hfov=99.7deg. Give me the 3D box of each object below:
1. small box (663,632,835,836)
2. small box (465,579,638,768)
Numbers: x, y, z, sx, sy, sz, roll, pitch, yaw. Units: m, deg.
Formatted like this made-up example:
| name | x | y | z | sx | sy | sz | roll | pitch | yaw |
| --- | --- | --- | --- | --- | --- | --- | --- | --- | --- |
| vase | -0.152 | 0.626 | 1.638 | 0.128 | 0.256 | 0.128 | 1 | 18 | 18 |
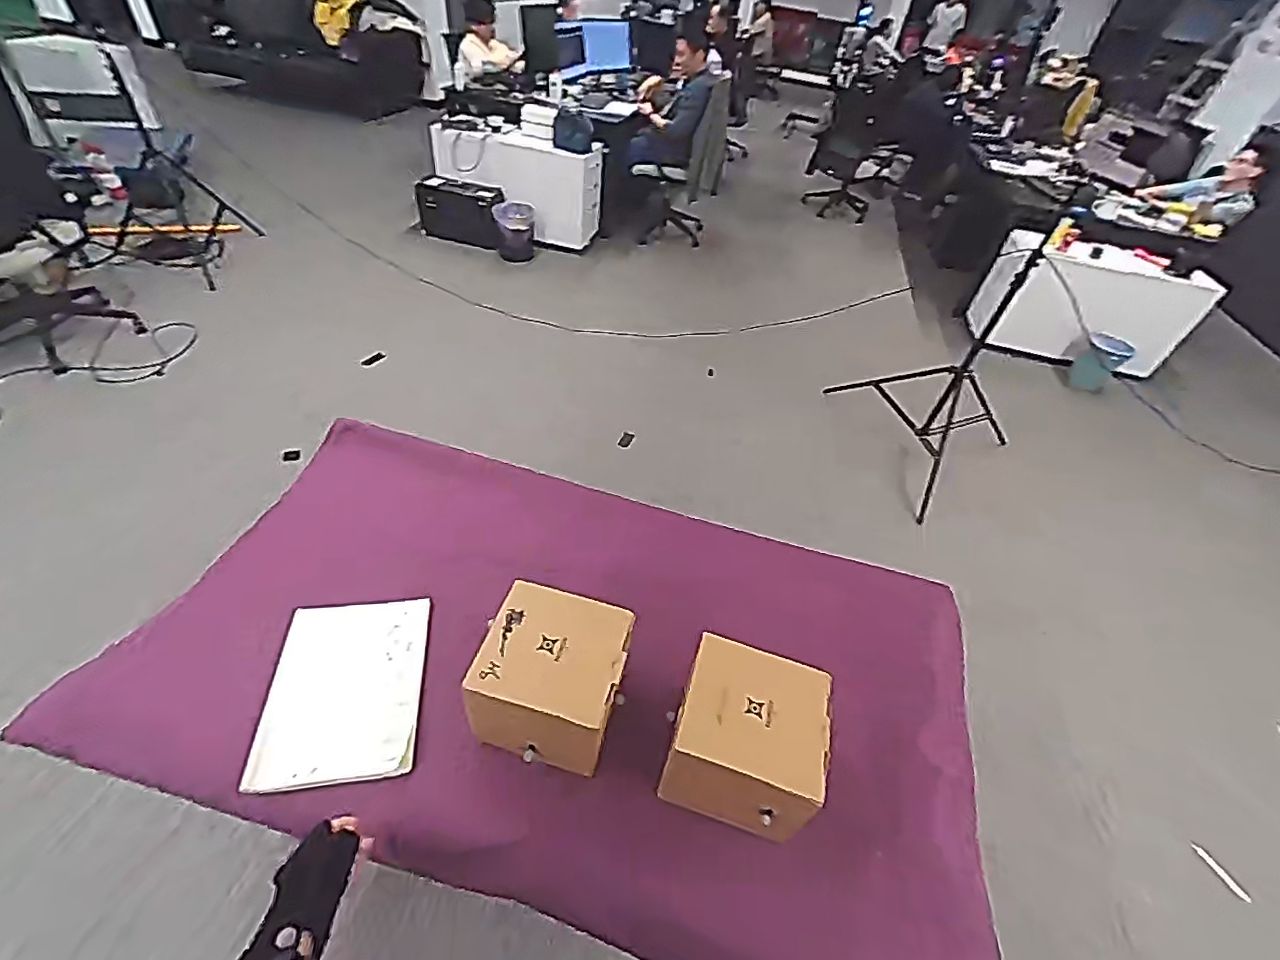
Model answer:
| name | x | y | z | sx | sy | sz | roll | pitch | yaw |
| --- | --- | --- | --- | --- | --- | --- | --- | --- | --- |
| small box | 0.140 | 0.337 | 0.713 | 0.179 | 0.176 | 0.168 | 15 | 42 | 9 |
| small box | -0.115 | 0.269 | 0.741 | 0.179 | 0.176 | 0.168 | 15 | 43 | 6 |
